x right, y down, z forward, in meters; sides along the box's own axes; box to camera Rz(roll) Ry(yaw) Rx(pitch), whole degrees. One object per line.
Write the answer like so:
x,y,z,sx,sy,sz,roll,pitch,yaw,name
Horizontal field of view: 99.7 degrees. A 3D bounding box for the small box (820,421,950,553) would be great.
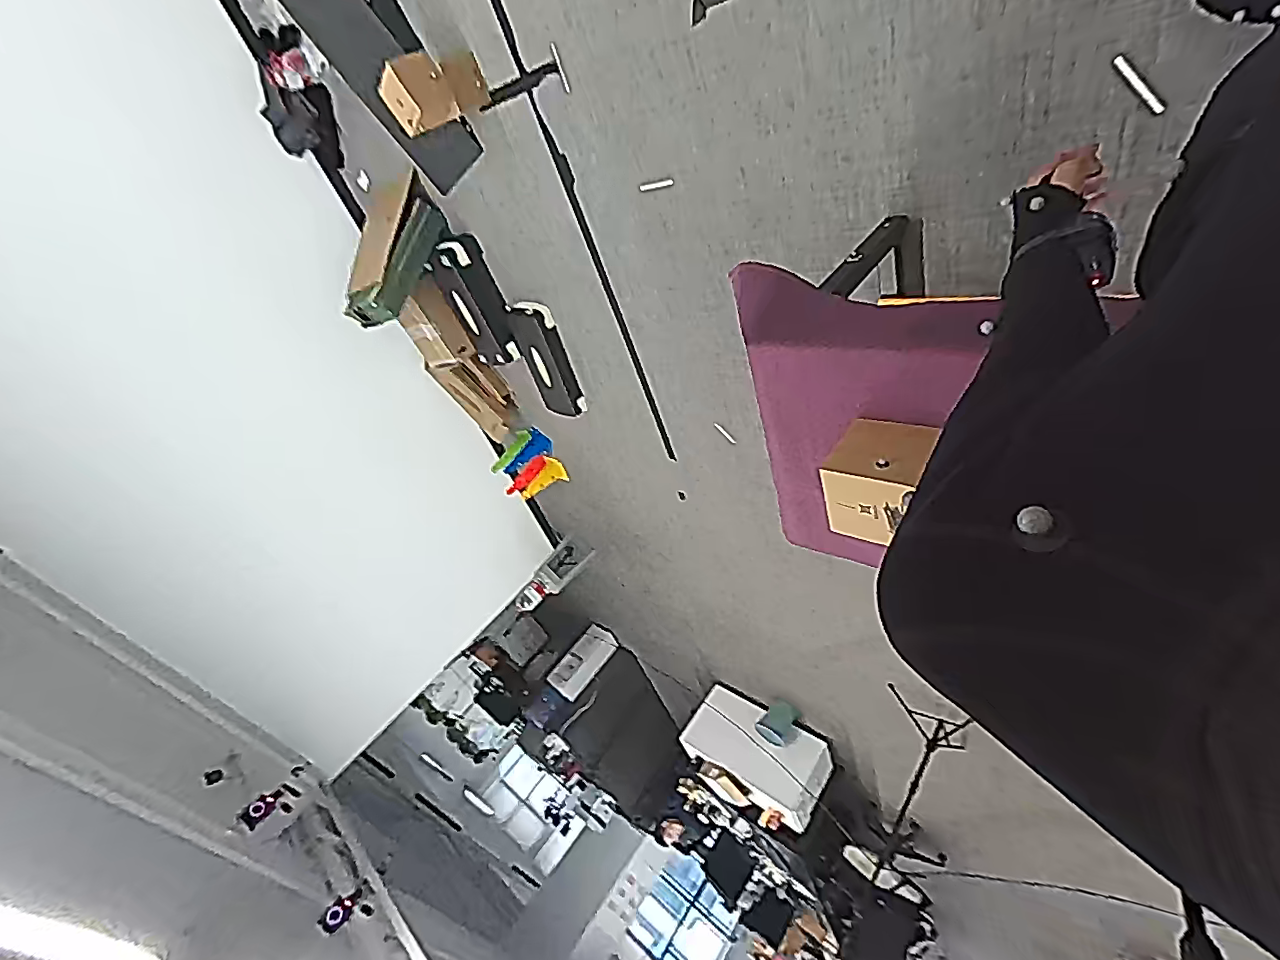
0.470,0.006,1.025,0.179,0.176,0.168,16,141,42,small box
